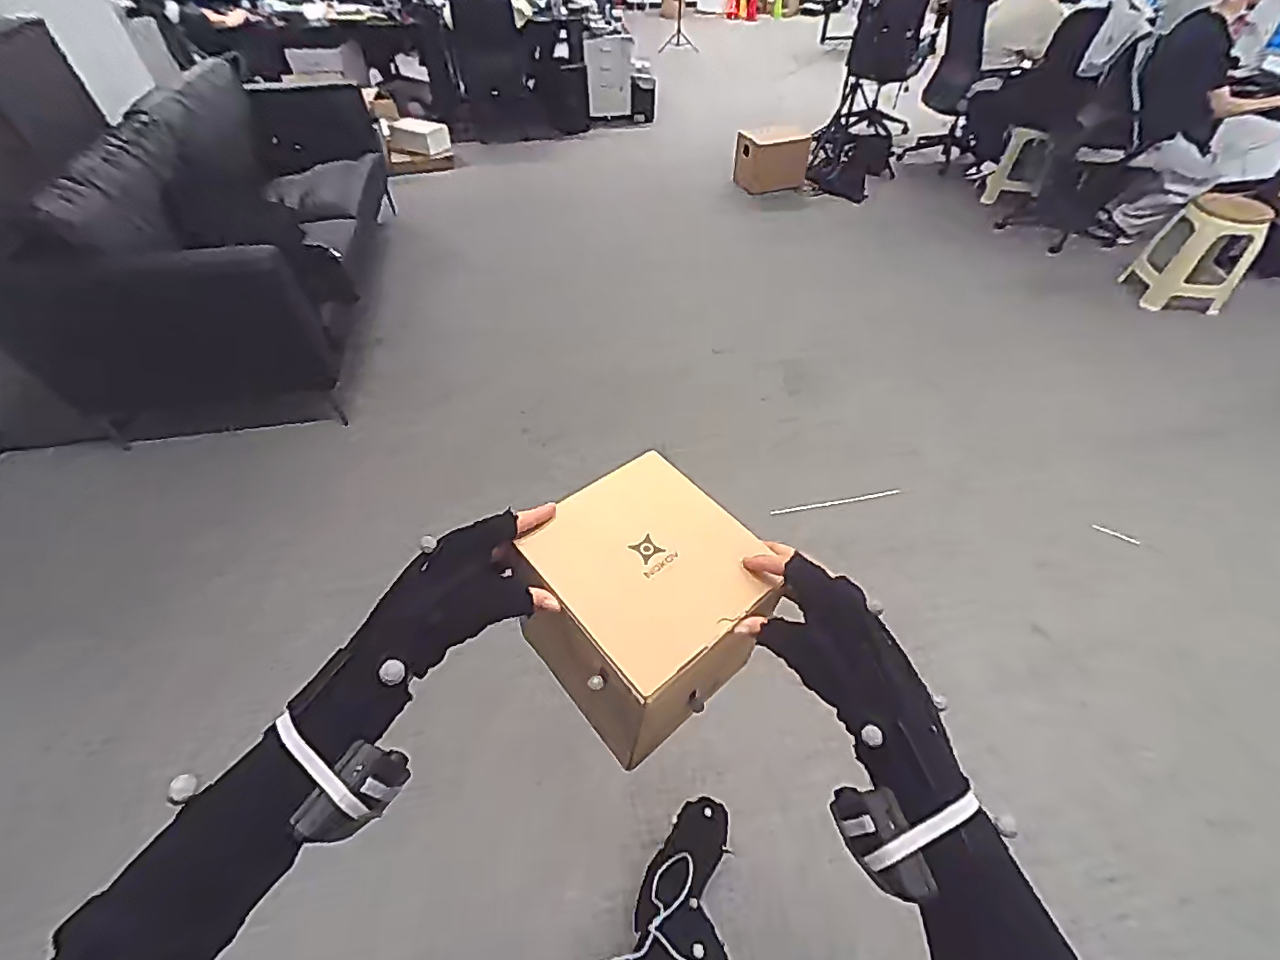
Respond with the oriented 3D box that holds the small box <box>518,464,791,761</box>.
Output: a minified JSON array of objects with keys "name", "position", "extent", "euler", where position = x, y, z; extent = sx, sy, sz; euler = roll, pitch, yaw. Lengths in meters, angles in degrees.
[{"name":"small box","position":[0.003,0.123,0.508],"extent":[0.168,0.176,0.179],"euler":[-30,58,-30]}]
